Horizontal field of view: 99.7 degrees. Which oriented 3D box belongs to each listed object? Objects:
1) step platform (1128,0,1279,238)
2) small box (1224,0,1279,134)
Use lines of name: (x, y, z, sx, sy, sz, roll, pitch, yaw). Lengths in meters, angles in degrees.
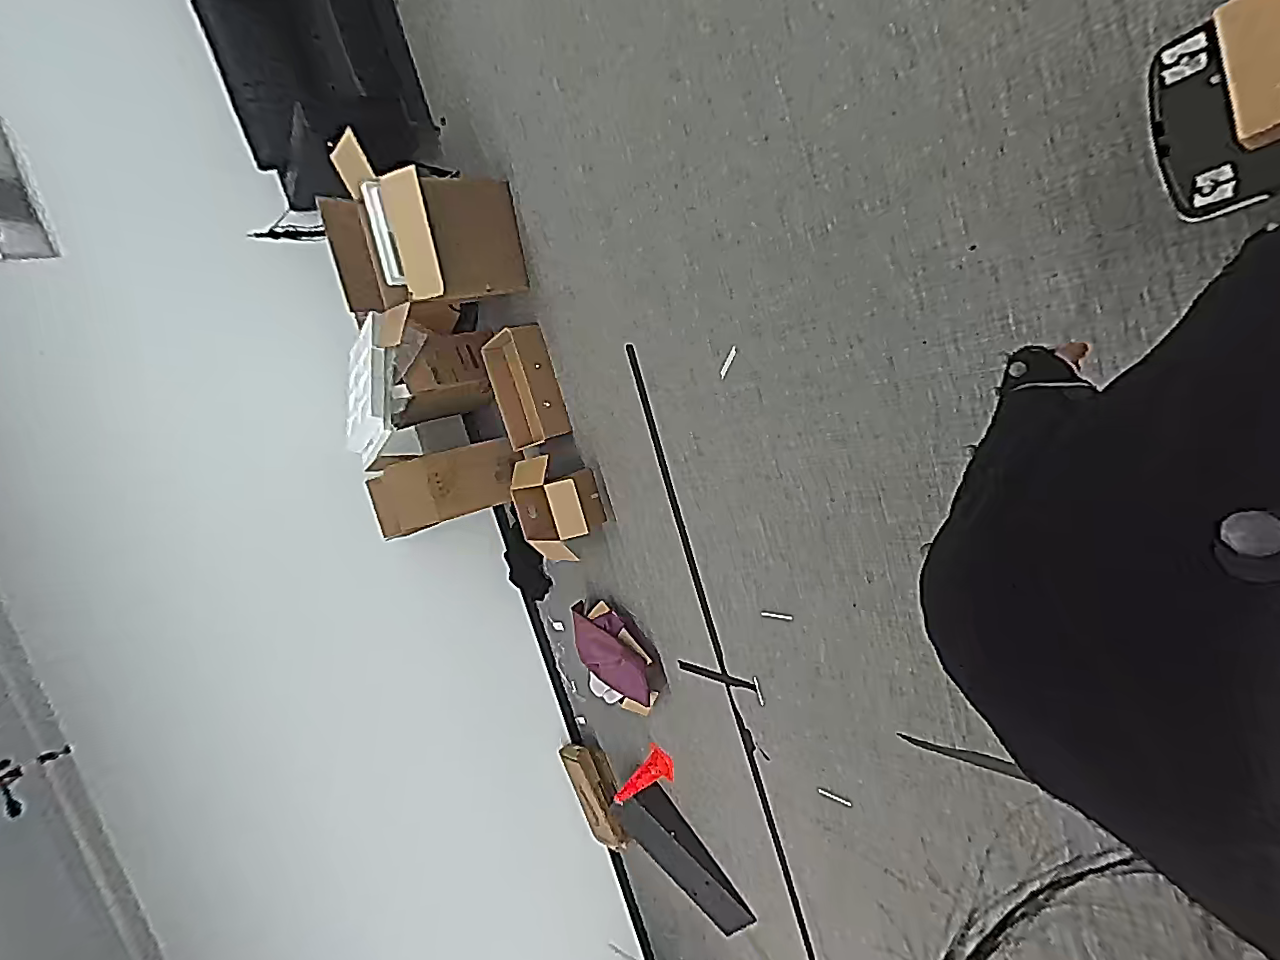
step platform: (0.967, -0.529, 0.546, 0.684, 0.204, 0.286, -10, 98, 53)
small box: (0.883, -0.568, 0.693, 0.168, 0.176, 0.179, -10, 99, 54)
